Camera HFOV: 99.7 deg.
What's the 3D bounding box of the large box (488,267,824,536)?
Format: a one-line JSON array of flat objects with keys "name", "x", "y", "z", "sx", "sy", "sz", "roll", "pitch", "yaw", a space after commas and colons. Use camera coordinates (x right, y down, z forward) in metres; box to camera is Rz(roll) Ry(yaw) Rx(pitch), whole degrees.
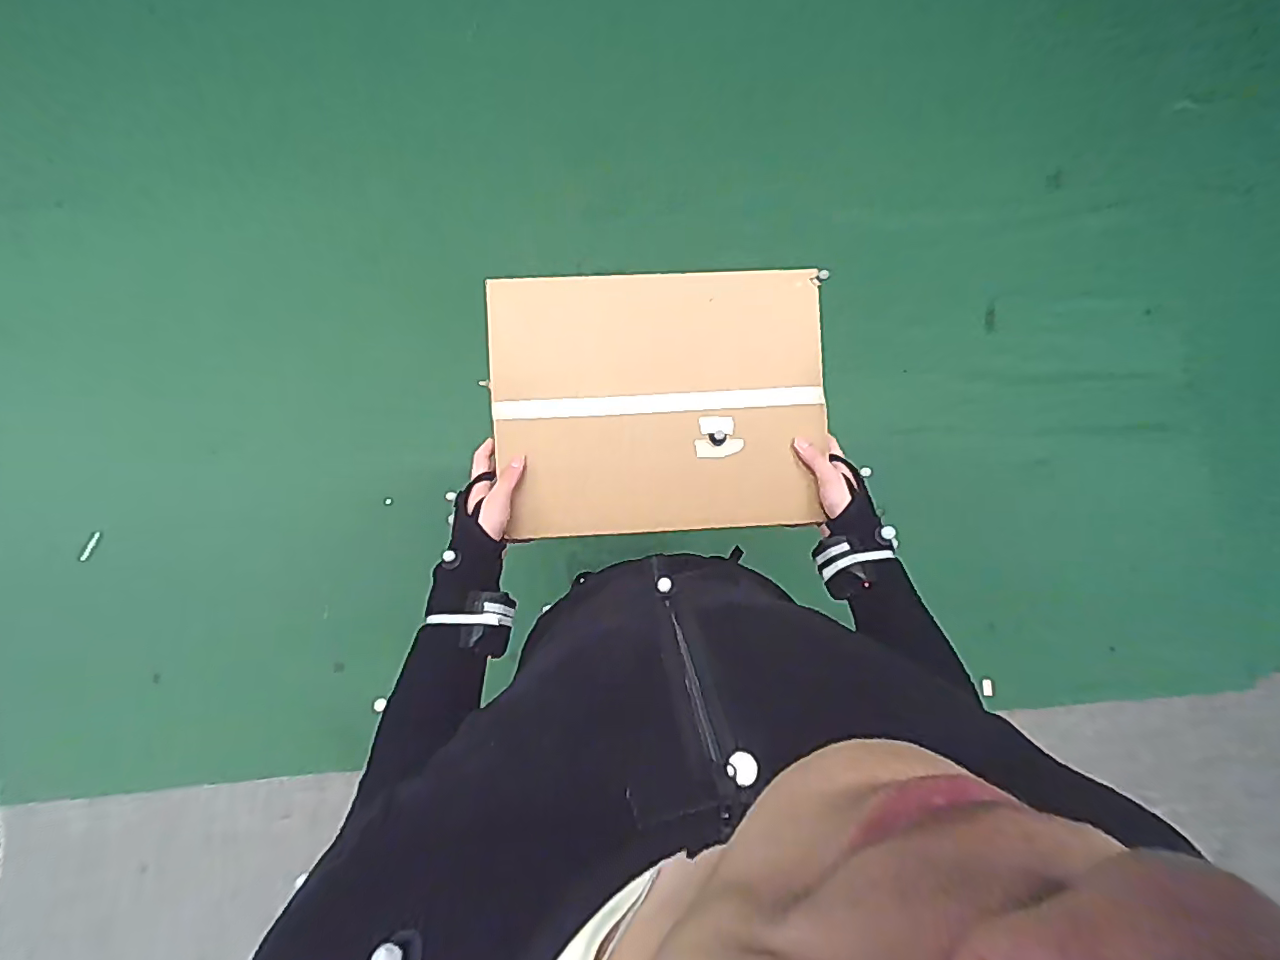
[{"name": "large box", "x": 0.013, "y": -0.100, "z": 0.813, "sx": 0.408, "sy": 0.320, "sz": 0.320, "roll": -4, "pitch": 91, "yaw": -4}]
